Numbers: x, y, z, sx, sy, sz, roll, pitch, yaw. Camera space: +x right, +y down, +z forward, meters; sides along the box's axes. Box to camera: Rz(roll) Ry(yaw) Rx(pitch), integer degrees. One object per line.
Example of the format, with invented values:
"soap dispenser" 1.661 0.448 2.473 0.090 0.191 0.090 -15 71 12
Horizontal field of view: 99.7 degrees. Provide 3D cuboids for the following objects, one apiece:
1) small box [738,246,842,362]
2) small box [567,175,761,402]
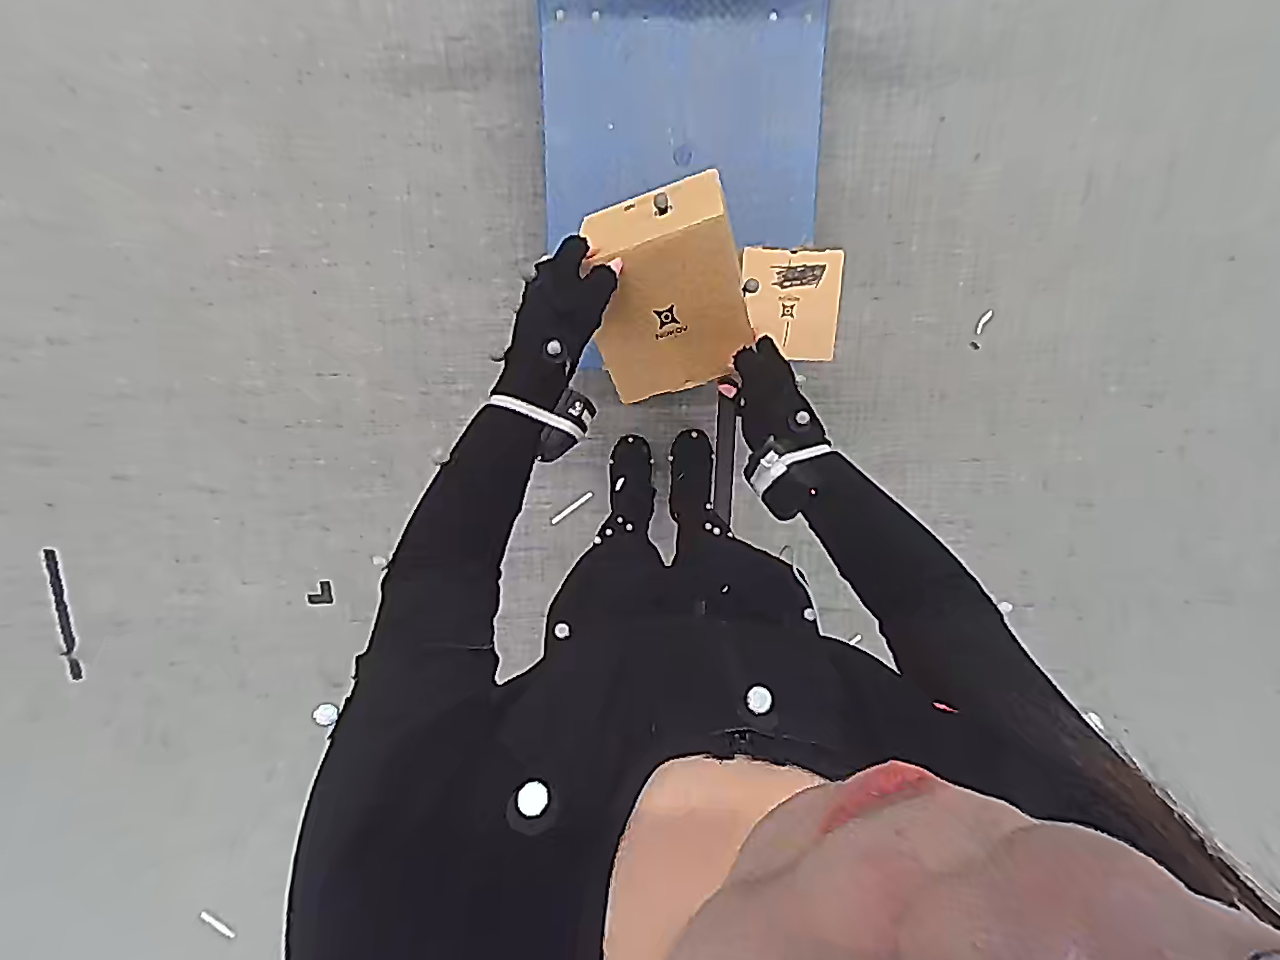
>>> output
"small box" 0.237 -0.303 0.961 0.168 0.176 0.179 2 103 -3
"small box" 0.032 -0.225 0.623 0.168 0.176 0.179 -13 133 16
